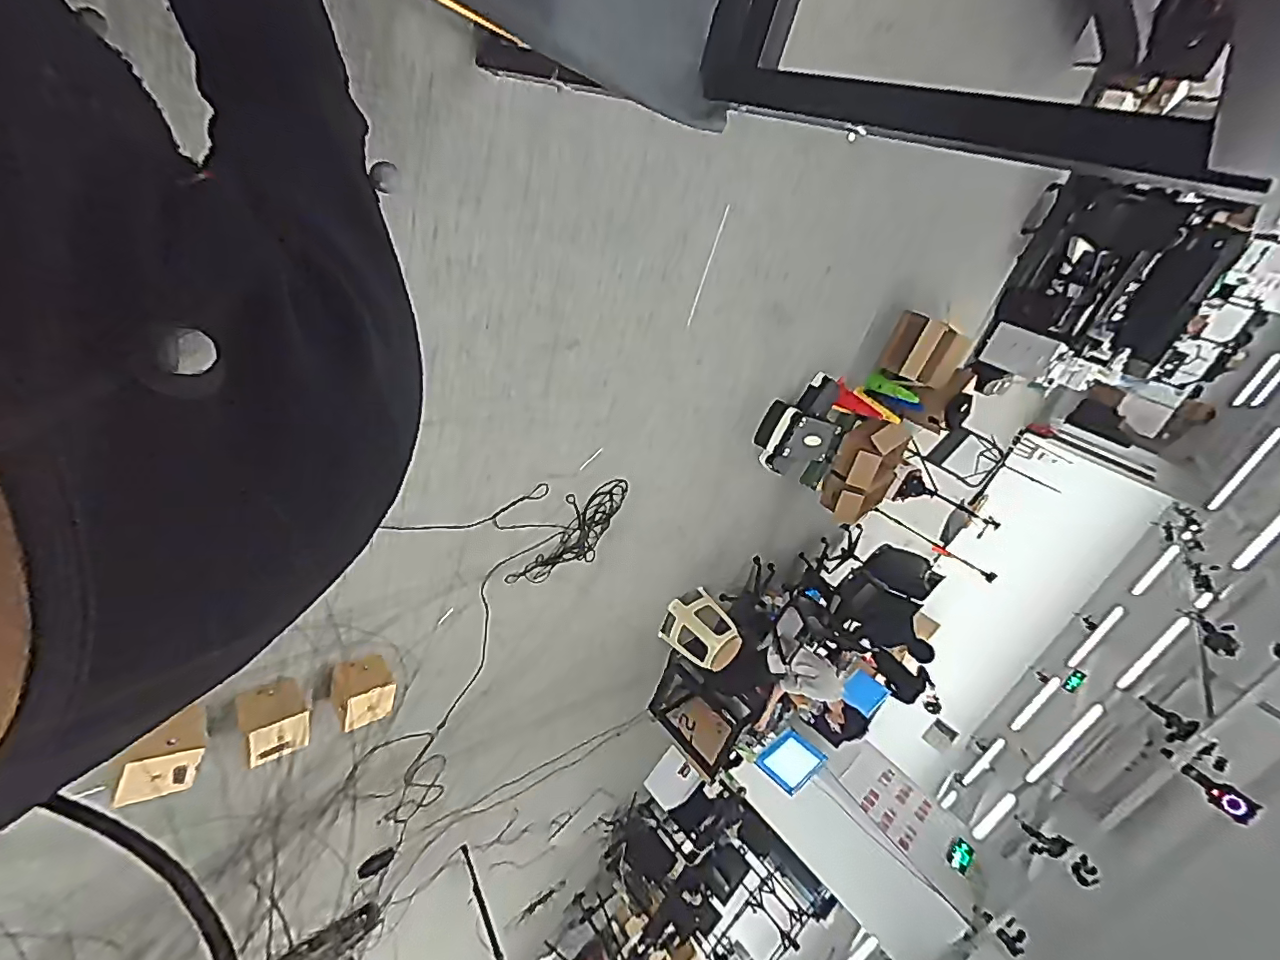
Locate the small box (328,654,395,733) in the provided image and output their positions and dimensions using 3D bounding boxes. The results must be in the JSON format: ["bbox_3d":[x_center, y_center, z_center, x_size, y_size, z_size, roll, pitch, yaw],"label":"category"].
[{"bbox_3d":[-1.030,0.780,1.991,0.168,0.176,0.179,-8,126,-47],"label":"small box"}]

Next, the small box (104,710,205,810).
[{"bbox_3d":[-1.400,0.794,1.557,0.179,0.176,0.168,12,110,-52],"label":"small box"}]
